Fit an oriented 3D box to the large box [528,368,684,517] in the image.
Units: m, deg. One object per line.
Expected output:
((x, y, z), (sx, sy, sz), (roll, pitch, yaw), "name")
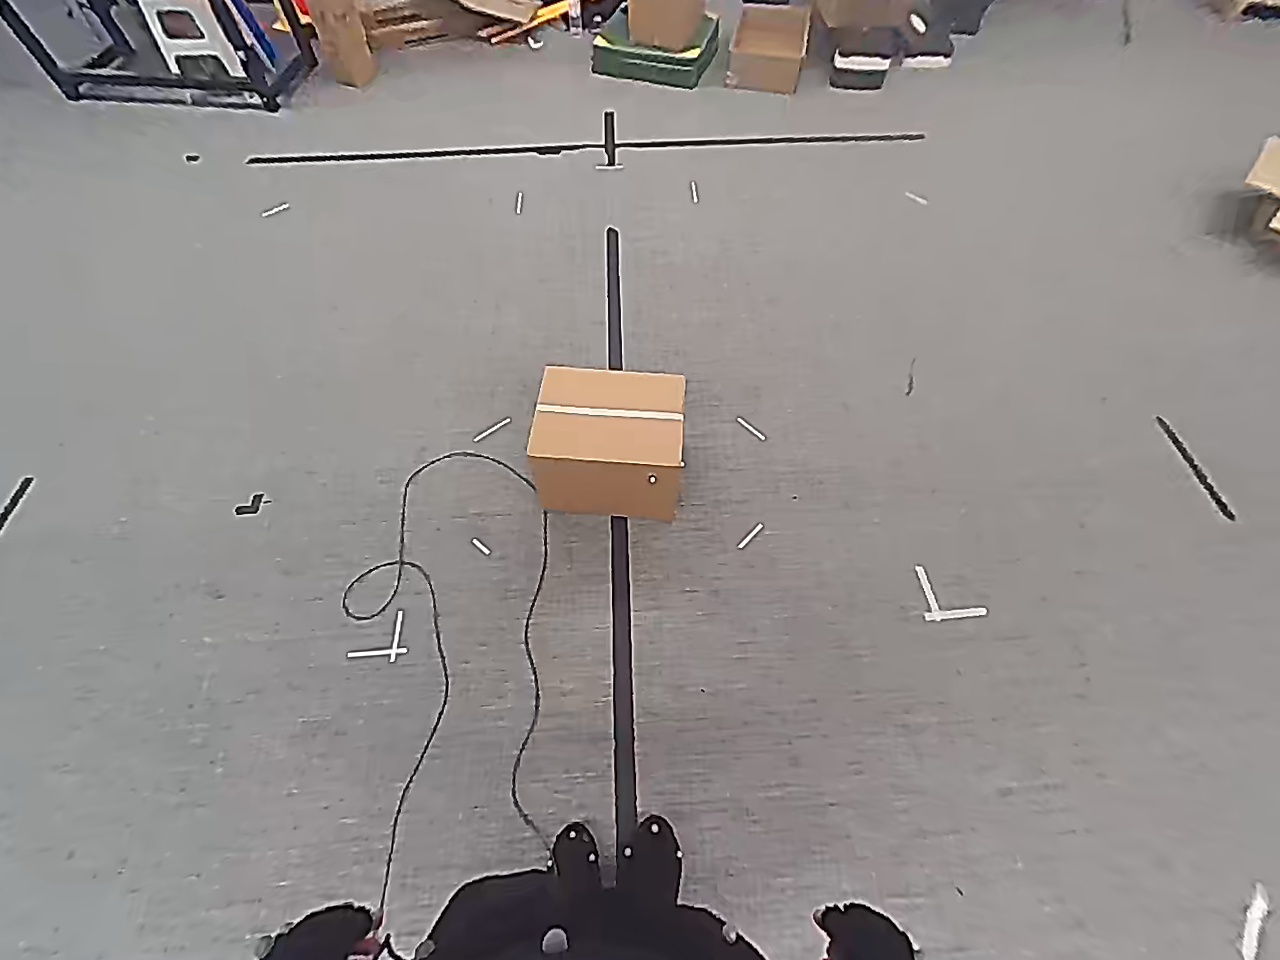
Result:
((-0.082, -0.101, 1.589), (0.408, 0.320, 0.320), (4, 59, 1), "large box")
